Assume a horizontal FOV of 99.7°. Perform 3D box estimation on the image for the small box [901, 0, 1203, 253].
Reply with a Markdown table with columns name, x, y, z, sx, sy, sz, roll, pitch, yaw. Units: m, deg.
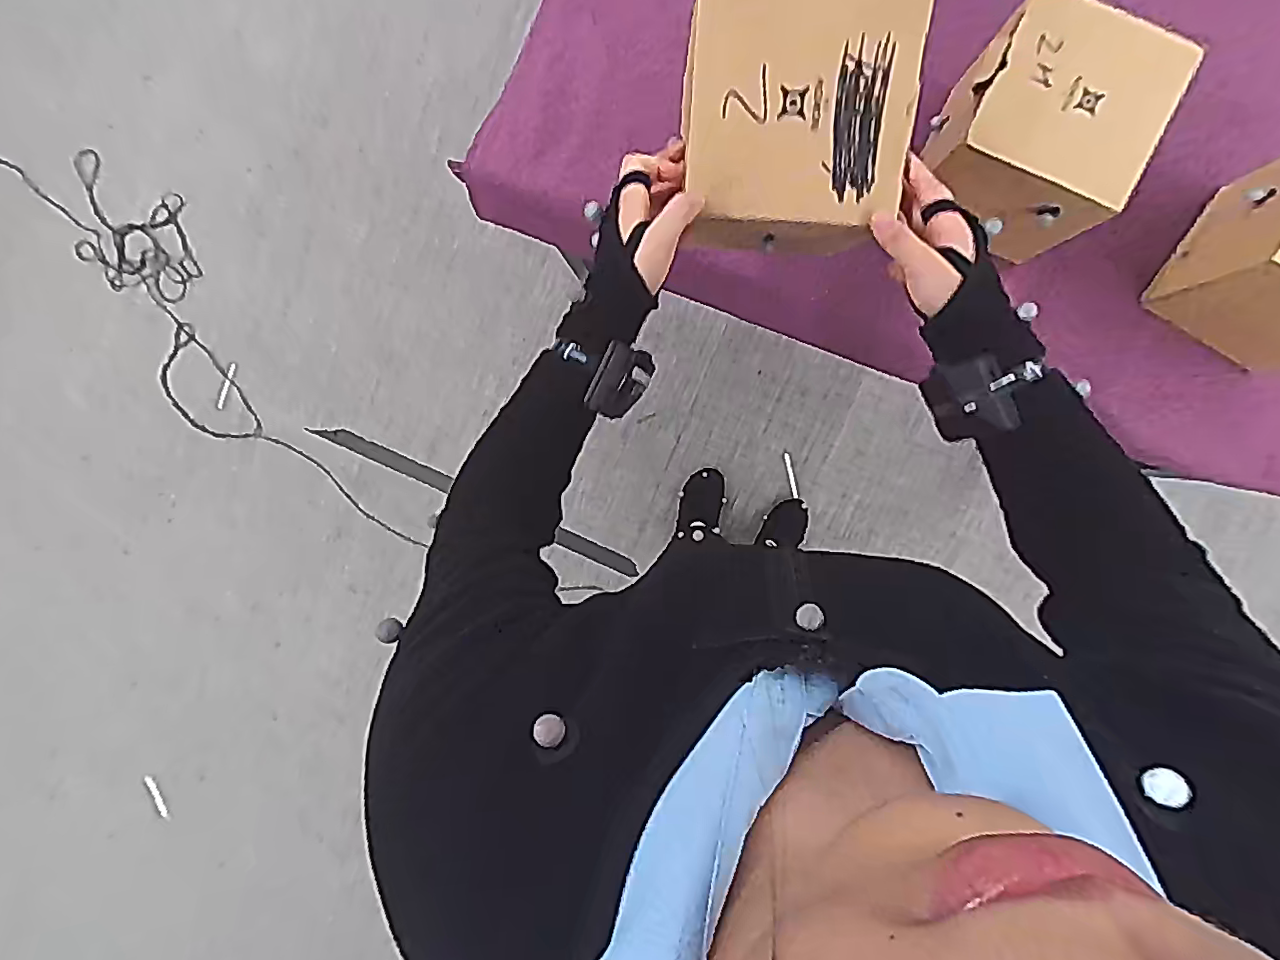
| name | x | y | z | sx | sy | sz | roll | pitch | yaw |
| --- | --- | --- | --- | --- | --- | --- | --- | --- | --- |
| small box | 0.438 | -0.382 | 0.610 | 0.179 | 0.176 | 0.168 | 25 | 95 | 2 |

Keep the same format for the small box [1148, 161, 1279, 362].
| name | x | y | z | sx | sy | sz | roll | pitch | yaw |
| --- | --- | --- | --- | --- | --- | --- | --- | --- | --- |
| small box | 0.740 | -0.247 | 0.595 | 0.179 | 0.176 | 0.168 | 32 | 96 | 2 |
